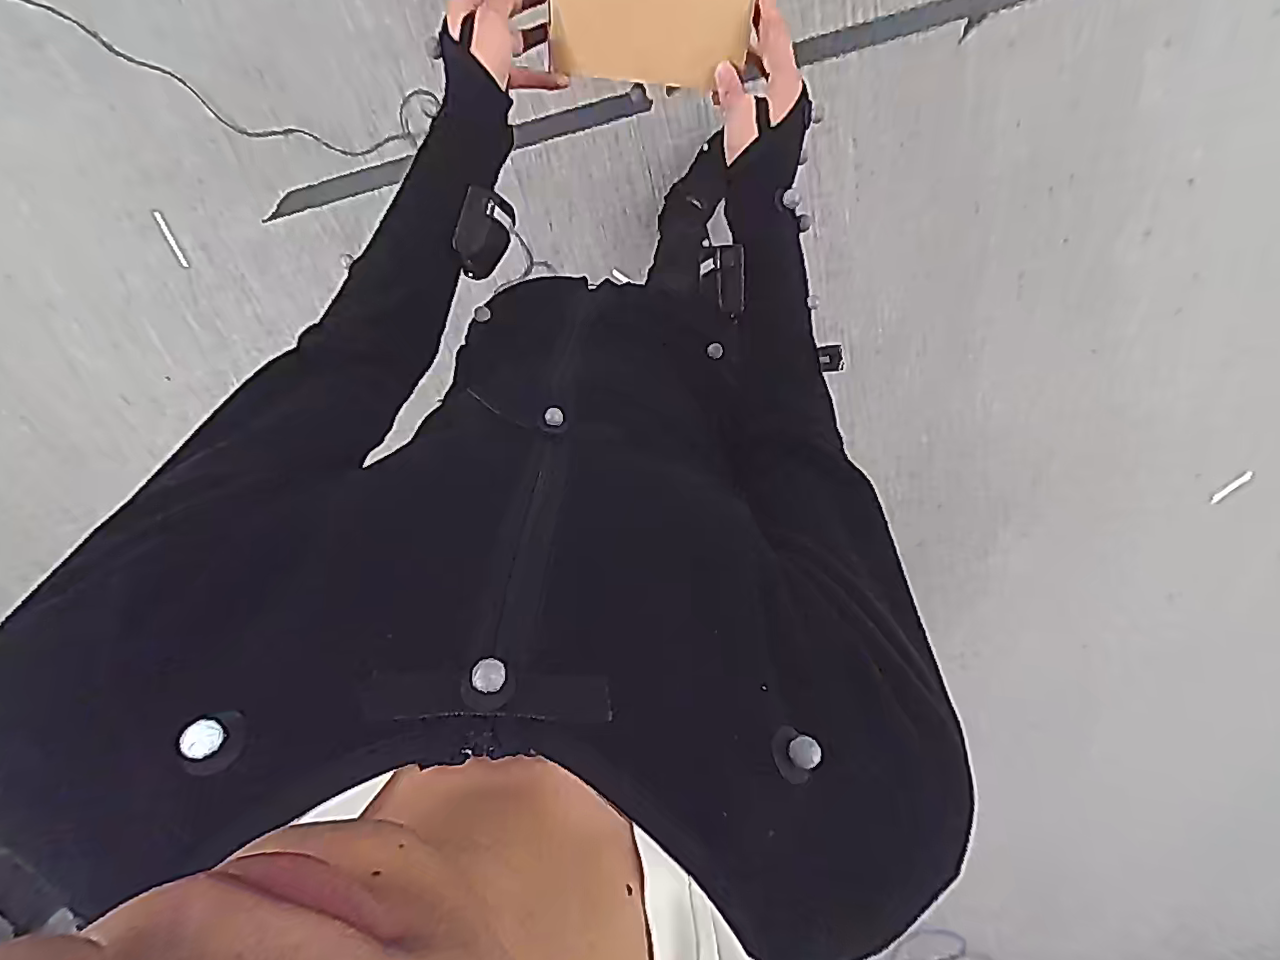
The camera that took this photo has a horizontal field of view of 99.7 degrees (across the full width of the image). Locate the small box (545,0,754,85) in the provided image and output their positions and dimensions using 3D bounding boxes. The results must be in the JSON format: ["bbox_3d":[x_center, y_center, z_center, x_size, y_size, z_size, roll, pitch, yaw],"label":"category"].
[{"bbox_3d":[0.014,-0.474,0.490,0.179,0.176,0.168,6,130,0],"label":"small box"}]
